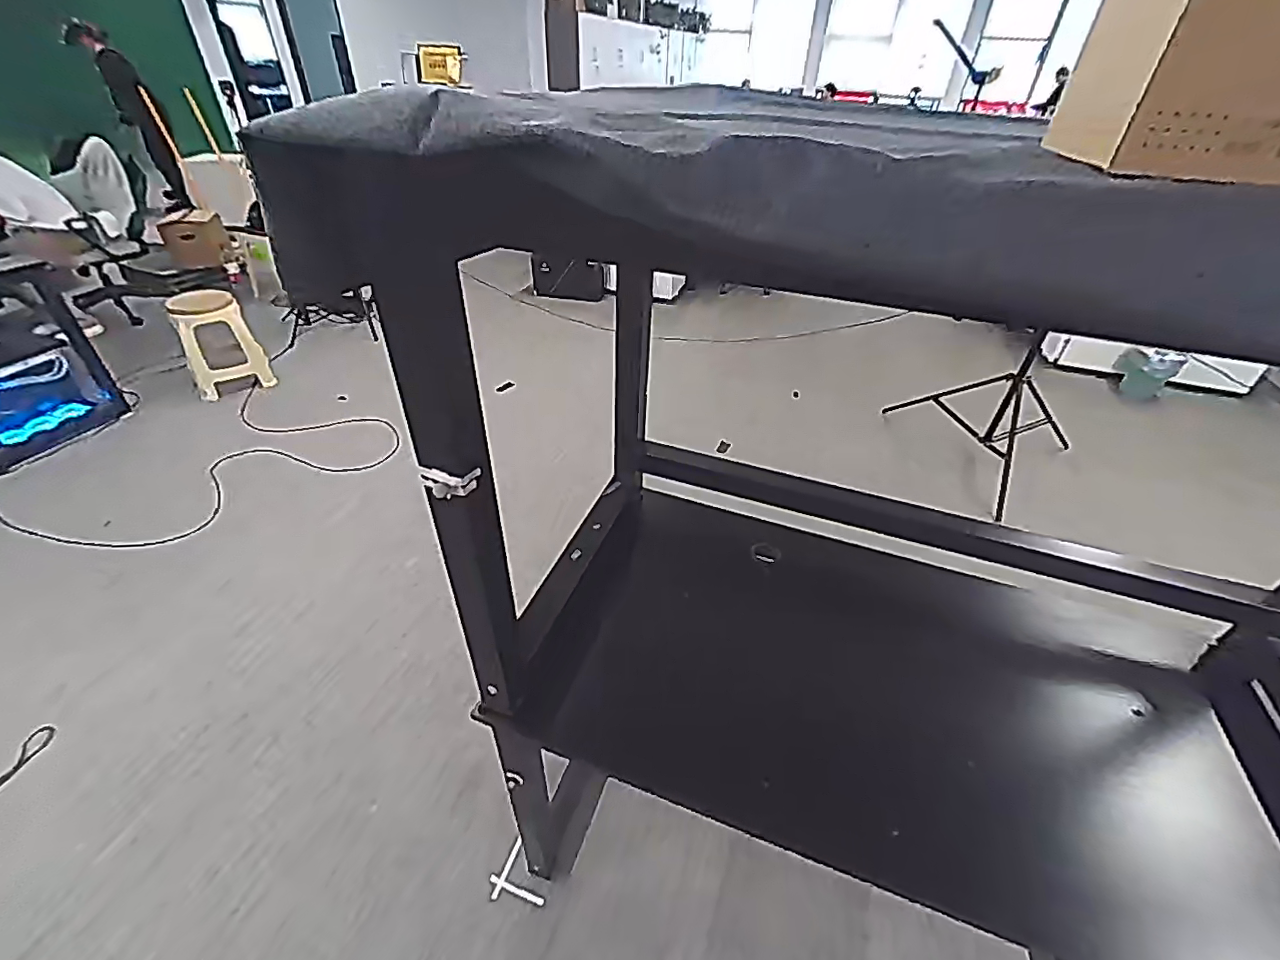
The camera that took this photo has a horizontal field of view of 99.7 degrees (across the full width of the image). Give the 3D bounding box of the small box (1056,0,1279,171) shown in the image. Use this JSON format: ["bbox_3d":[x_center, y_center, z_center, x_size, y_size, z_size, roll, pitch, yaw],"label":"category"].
[{"bbox_3d":[0.343,-0.250,0.260,0.168,0.176,0.179,15,37,16],"label":"small box"}]
